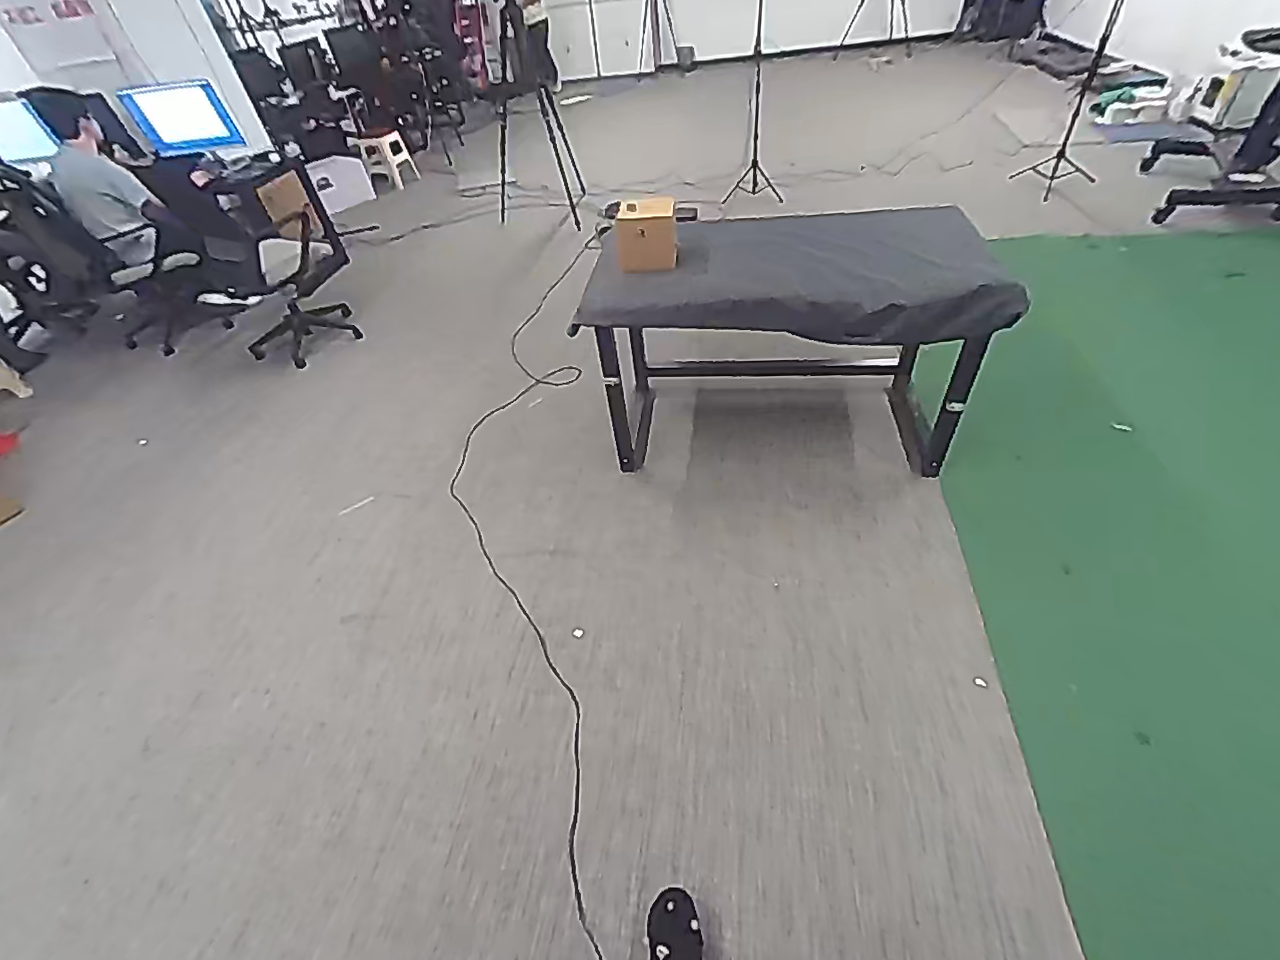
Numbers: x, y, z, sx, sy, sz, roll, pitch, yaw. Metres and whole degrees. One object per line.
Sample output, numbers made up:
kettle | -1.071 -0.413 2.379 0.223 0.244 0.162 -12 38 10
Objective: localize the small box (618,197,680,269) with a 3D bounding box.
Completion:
small box | 0.034 -0.794 1.746 0.179 0.176 0.168 1 45 8
